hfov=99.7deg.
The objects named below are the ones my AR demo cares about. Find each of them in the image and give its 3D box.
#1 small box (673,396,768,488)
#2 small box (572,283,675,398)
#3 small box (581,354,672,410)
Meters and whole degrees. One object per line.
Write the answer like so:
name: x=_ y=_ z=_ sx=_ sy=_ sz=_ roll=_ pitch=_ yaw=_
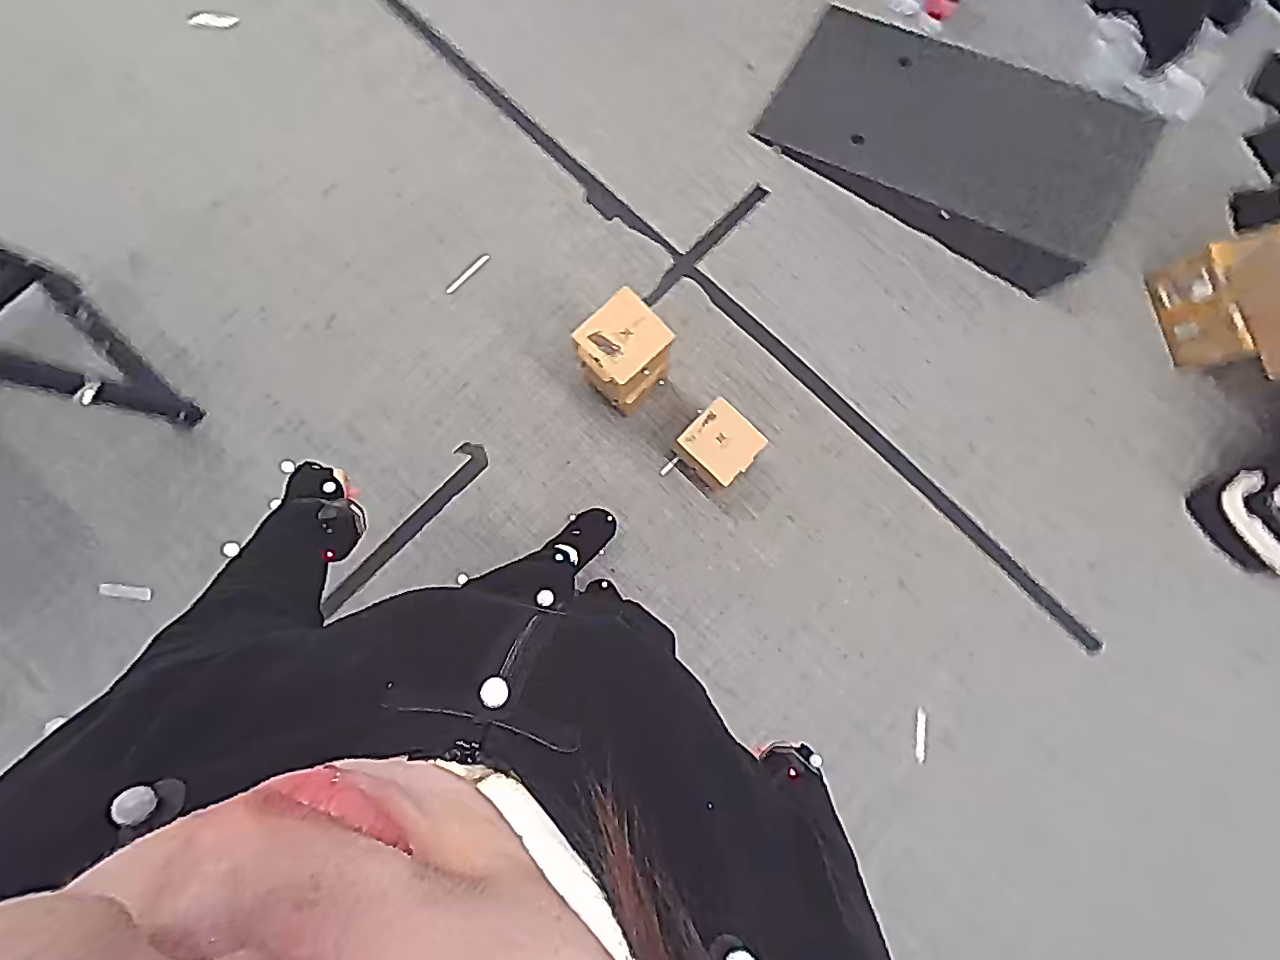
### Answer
small box: x=0.207 y=-0.095 z=1.443 sx=0.179 sy=0.176 sz=0.168 roll=45 pitch=85 yaw=1
small box: x=-0.038 y=-0.321 z=1.288 sx=0.179 sy=0.176 sz=0.168 roll=-44 pitch=89 yaw=-6
small box: x=-0.035 y=-0.305 z=1.451 sx=0.179 sy=0.176 sz=0.168 roll=43 pitch=86 yaw=2
